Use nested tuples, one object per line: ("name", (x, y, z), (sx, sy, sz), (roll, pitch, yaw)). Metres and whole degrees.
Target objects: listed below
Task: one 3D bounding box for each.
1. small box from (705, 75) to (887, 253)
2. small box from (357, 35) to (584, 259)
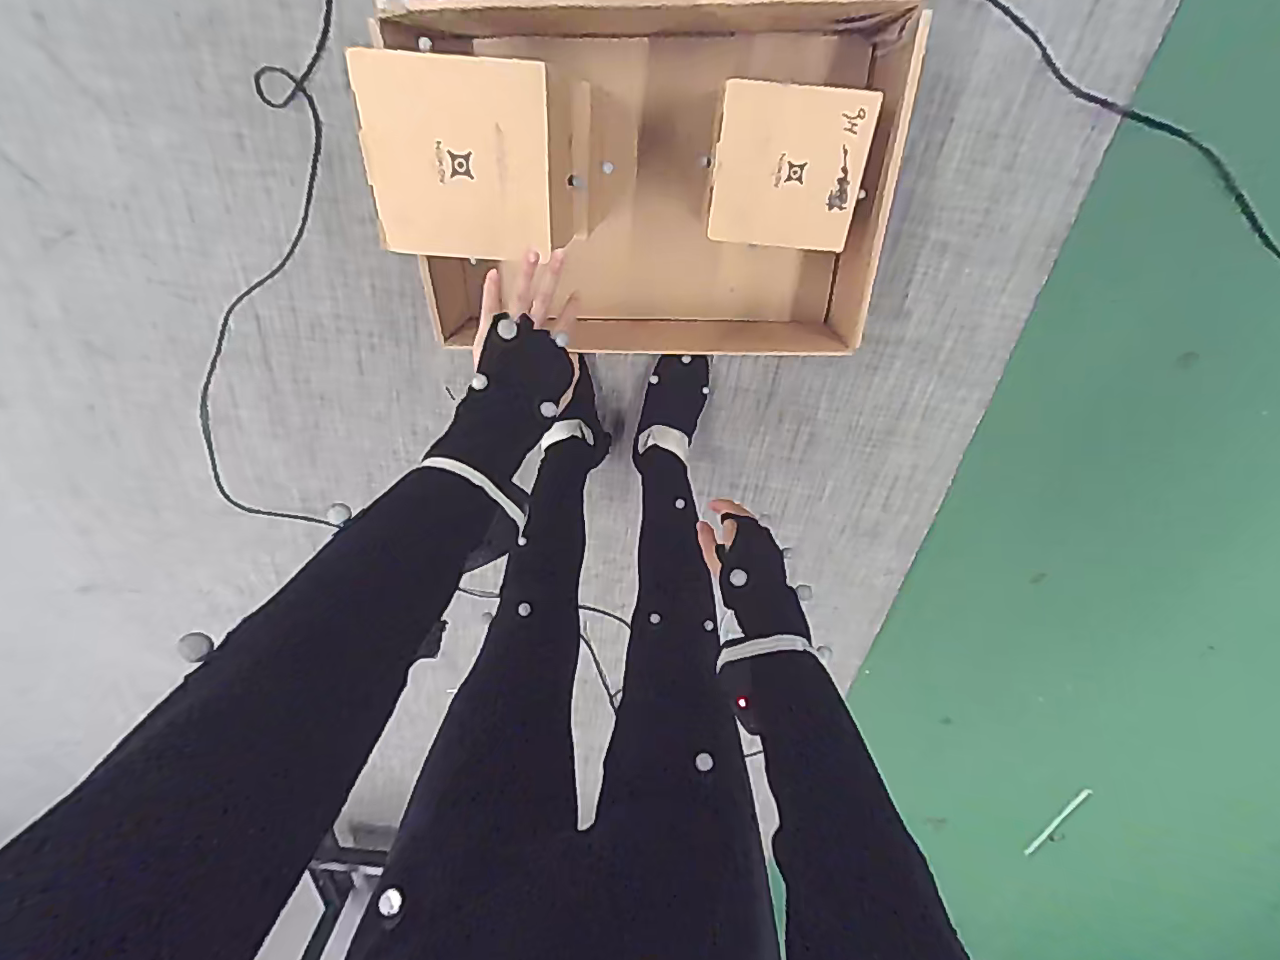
("small box", (0.183, -0.404, 0.701), (0.179, 0.176, 0.168), (7, 122, 0))
("small box", (-0.159, -0.343, 0.569), (0.179, 0.176, 0.168), (5, 123, -1))
